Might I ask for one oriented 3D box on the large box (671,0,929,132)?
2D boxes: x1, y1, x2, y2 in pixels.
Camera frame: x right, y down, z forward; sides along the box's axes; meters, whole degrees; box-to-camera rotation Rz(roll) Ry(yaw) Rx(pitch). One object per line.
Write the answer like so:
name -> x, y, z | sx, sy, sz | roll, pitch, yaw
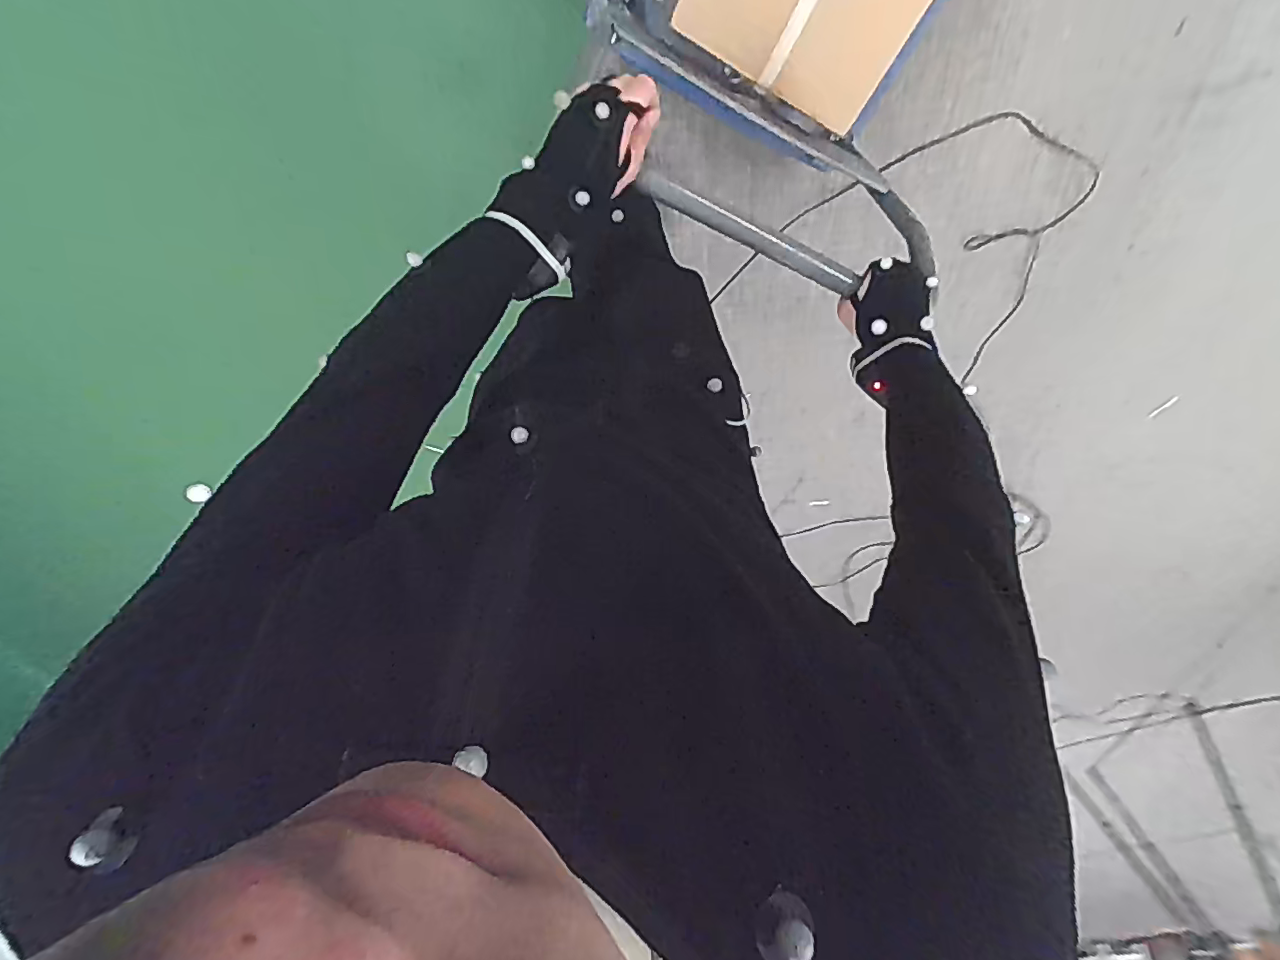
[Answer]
large box -> 0.267, -0.815, 0.790 | 0.320, 0.320, 0.408 | 20, 128, -17
